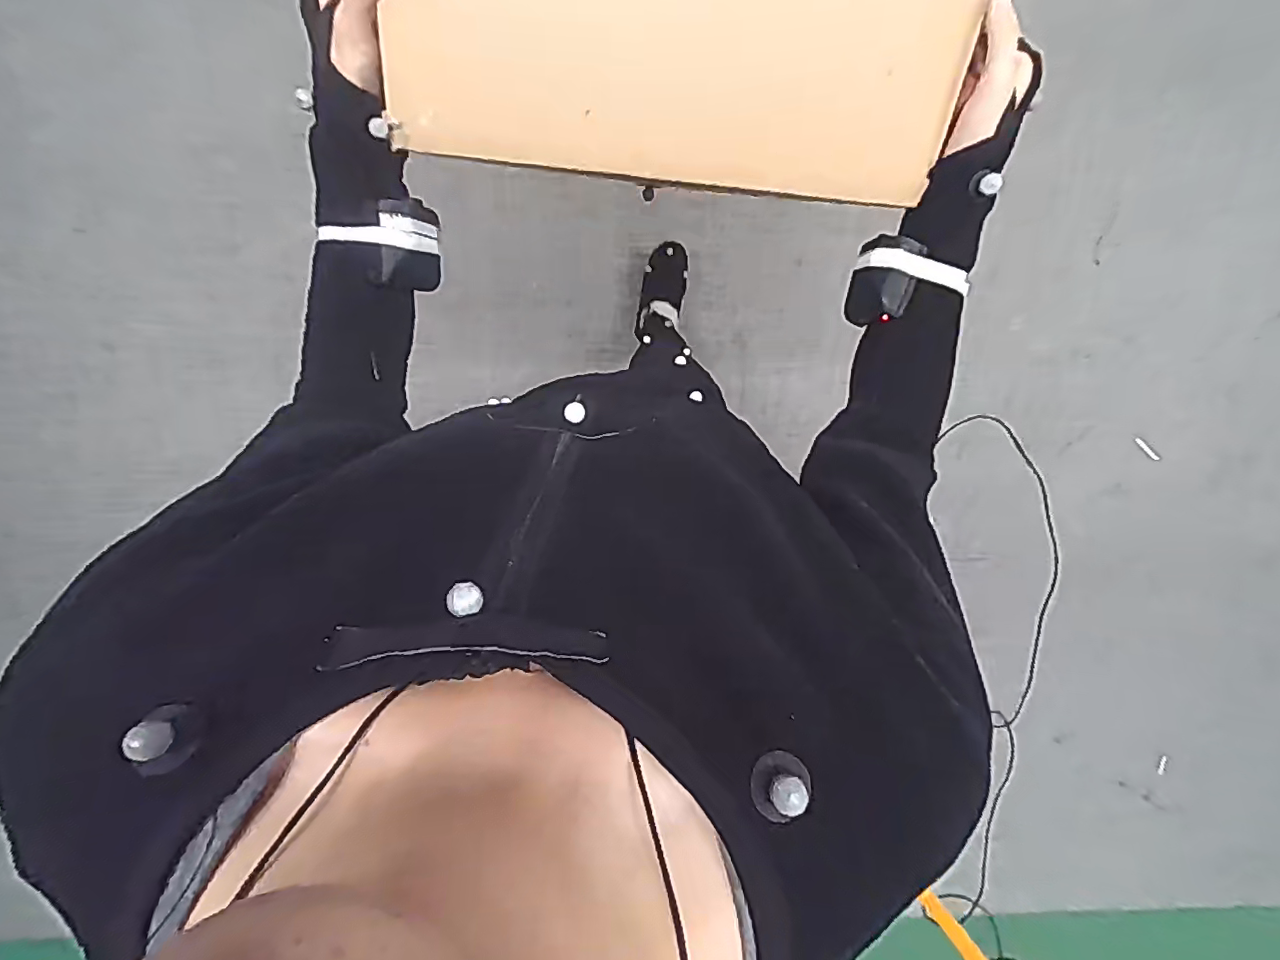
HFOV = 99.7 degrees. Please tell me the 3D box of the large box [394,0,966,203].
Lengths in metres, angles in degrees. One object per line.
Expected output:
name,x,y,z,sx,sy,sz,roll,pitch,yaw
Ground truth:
large box,0.028,-0.439,0.481,0.408,0.320,0.320,2,117,-6
